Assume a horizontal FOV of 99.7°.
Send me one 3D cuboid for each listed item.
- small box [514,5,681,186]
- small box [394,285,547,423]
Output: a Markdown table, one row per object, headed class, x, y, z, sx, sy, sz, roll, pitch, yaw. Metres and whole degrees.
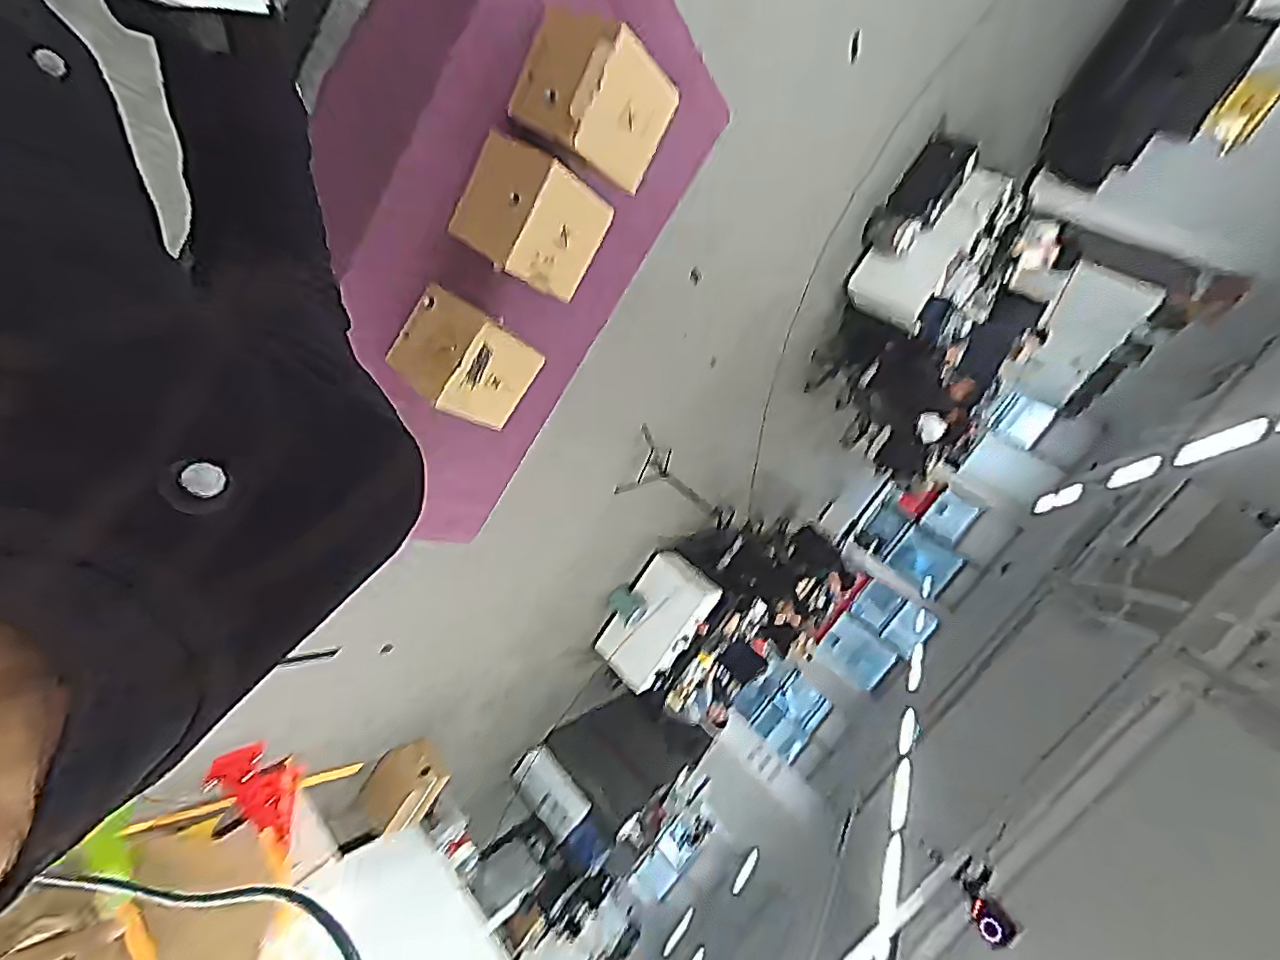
| class | x | y | z | sx | sy | sz | roll | pitch | yaw |
| --- | --- | --- | --- | --- | --- | --- | --- | --- | --- |
| small box | -0.072 | -0.621 | 0.878 | 0.179 | 0.176 | 0.168 | -2 | 127 | -58 |
| small box | -0.314 | -0.233 | 0.999 | 0.168 | 0.176 | 0.179 | -55 | 155 | 9 |
